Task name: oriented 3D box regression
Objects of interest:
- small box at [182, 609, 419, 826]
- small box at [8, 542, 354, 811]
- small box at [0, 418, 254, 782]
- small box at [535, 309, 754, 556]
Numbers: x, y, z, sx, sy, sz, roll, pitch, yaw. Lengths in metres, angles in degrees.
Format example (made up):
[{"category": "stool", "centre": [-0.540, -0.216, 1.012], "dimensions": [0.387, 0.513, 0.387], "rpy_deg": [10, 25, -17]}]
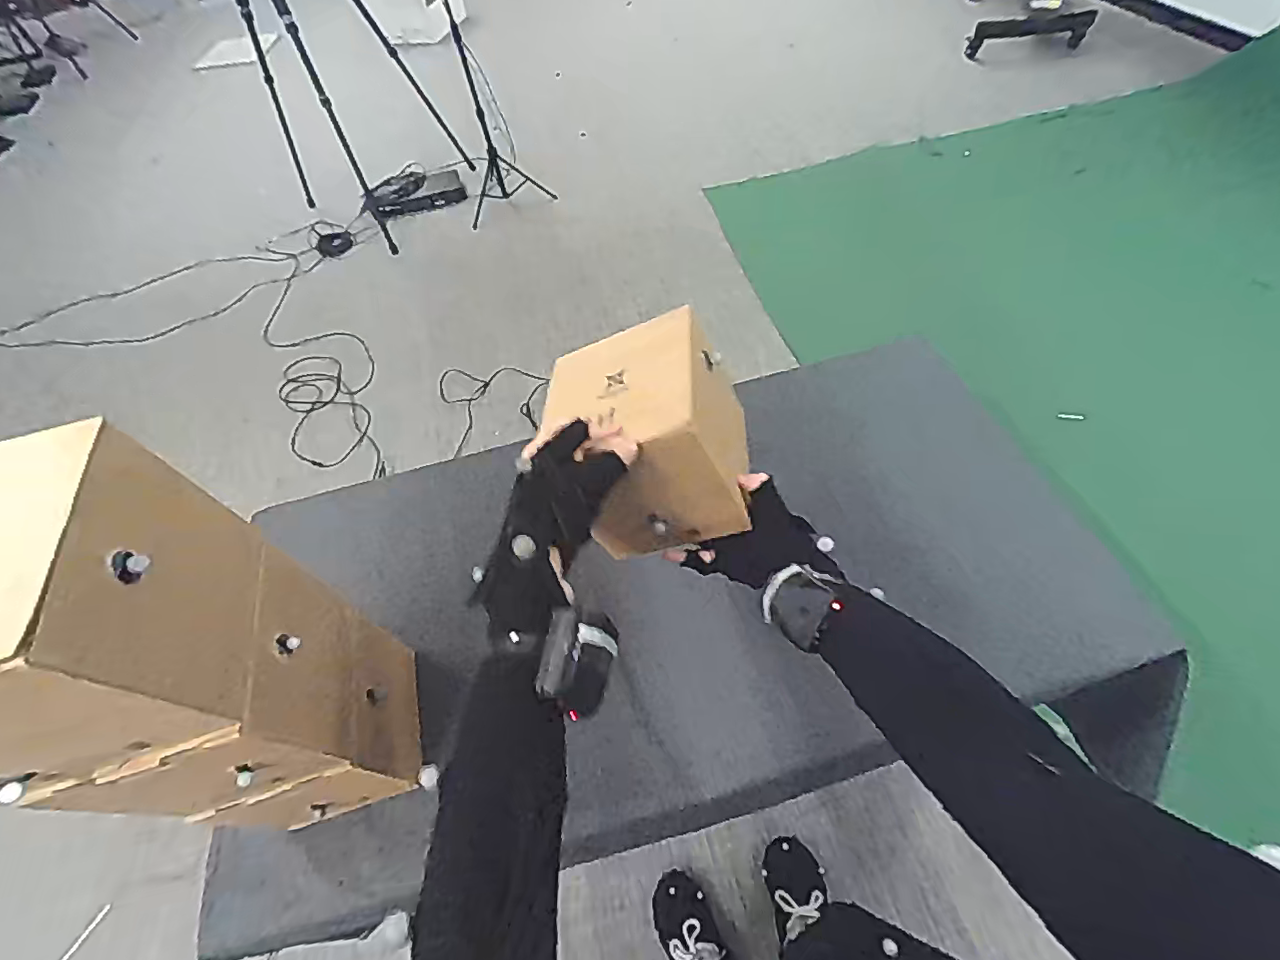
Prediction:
[{"category": "small box", "centre": [-0.378, 0.283, 0.637], "dimensions": [0.168, 0.176, 0.179], "rpy_deg": [-17, 56, -5]}, {"category": "small box", "centre": [-0.391, 0.189, 0.505], "dimensions": [0.168, 0.176, 0.179], "rpy_deg": [-16, 56, -6]}, {"category": "small box", "centre": [-0.406, 0.092, 0.374], "dimensions": [0.168, 0.176, 0.179], "rpy_deg": [-17, 56, -7]}, {"category": "small box", "centre": [0.015, -0.042, 0.579], "dimensions": [0.168, 0.176, 0.179], "rpy_deg": [-15, 50, 23]}]
